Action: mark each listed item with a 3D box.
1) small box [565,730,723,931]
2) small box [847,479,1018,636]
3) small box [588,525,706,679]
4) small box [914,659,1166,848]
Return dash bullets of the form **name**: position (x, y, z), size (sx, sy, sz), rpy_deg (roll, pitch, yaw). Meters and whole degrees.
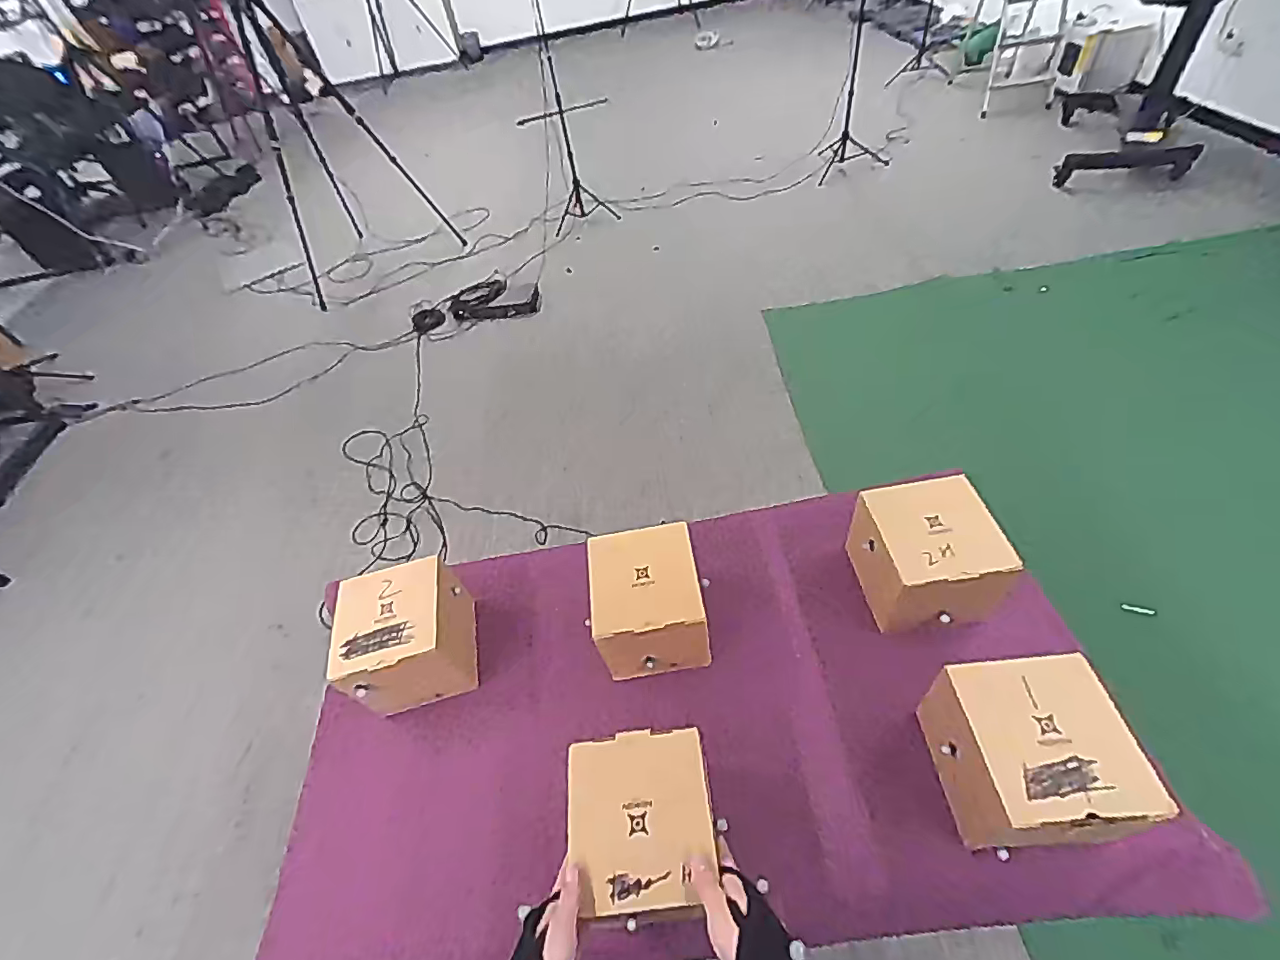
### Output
- **small box**: position (0.008, 0.439, 0.675), size (0.168, 0.176, 0.179), rpy_deg (-9, 47, 3)
- **small box**: position (0.446, 0.126, 0.864), size (0.168, 0.176, 0.179), rpy_deg (-10, 50, 3)
- **small box**: position (0.012, 0.200, 0.881), size (0.168, 0.176, 0.179), rpy_deg (-10, 51, 1)
- **small box**: position (0.470, 0.345, 0.674), size (0.168, 0.176, 0.179), rpy_deg (-7, 48, 5)
